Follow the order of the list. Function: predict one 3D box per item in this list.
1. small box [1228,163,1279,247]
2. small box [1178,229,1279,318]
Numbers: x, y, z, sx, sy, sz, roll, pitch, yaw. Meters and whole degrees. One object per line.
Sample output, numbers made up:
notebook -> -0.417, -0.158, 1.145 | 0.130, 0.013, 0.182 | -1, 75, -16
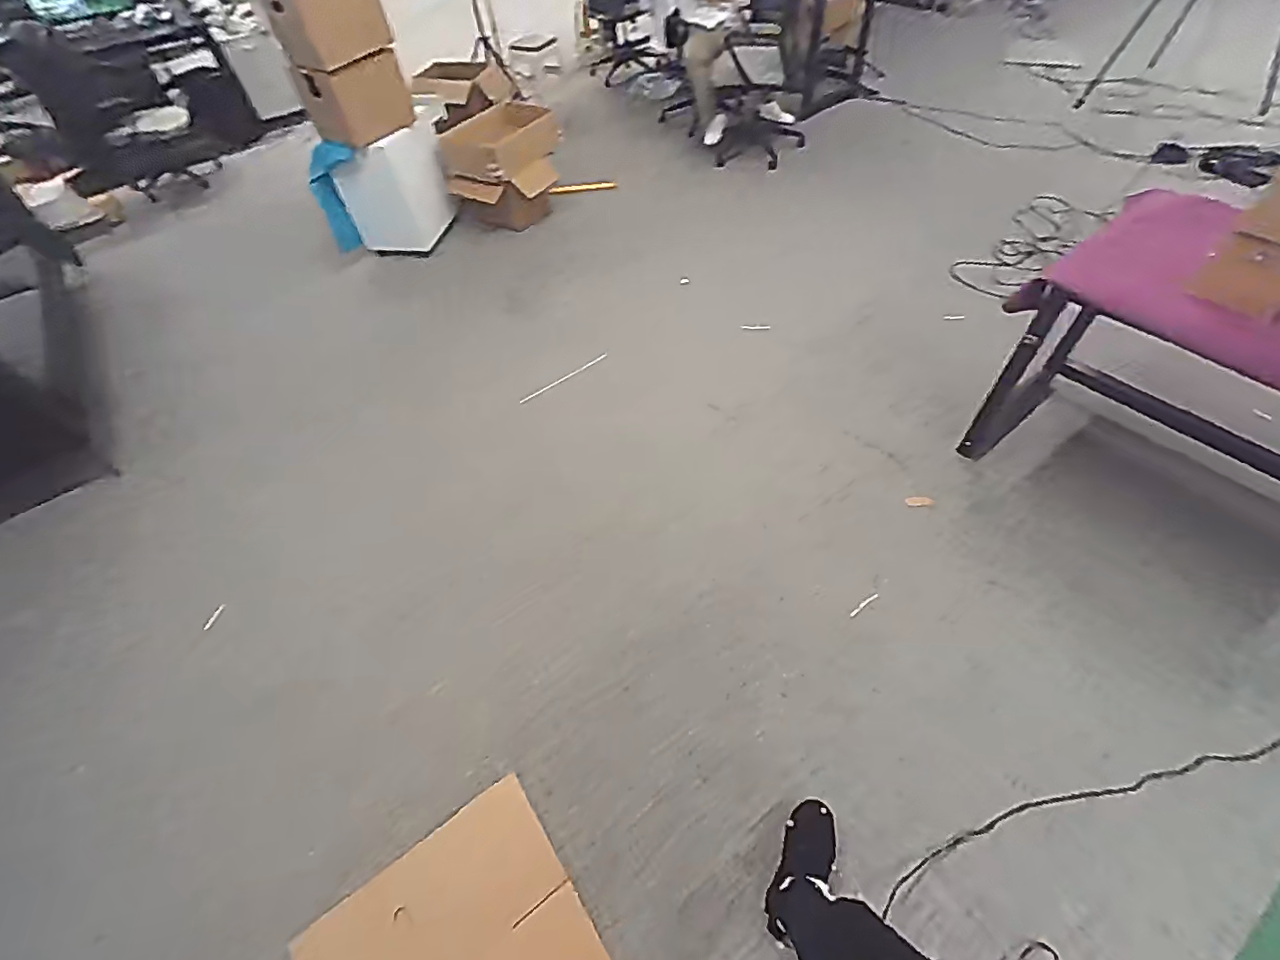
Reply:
small box -> 1.420, -0.597, 1.127 | 0.168, 0.176, 0.179 | -34, 56, -19
small box -> 1.444, -0.506, 1.264 | 0.168, 0.176, 0.179 | -35, 57, -19
